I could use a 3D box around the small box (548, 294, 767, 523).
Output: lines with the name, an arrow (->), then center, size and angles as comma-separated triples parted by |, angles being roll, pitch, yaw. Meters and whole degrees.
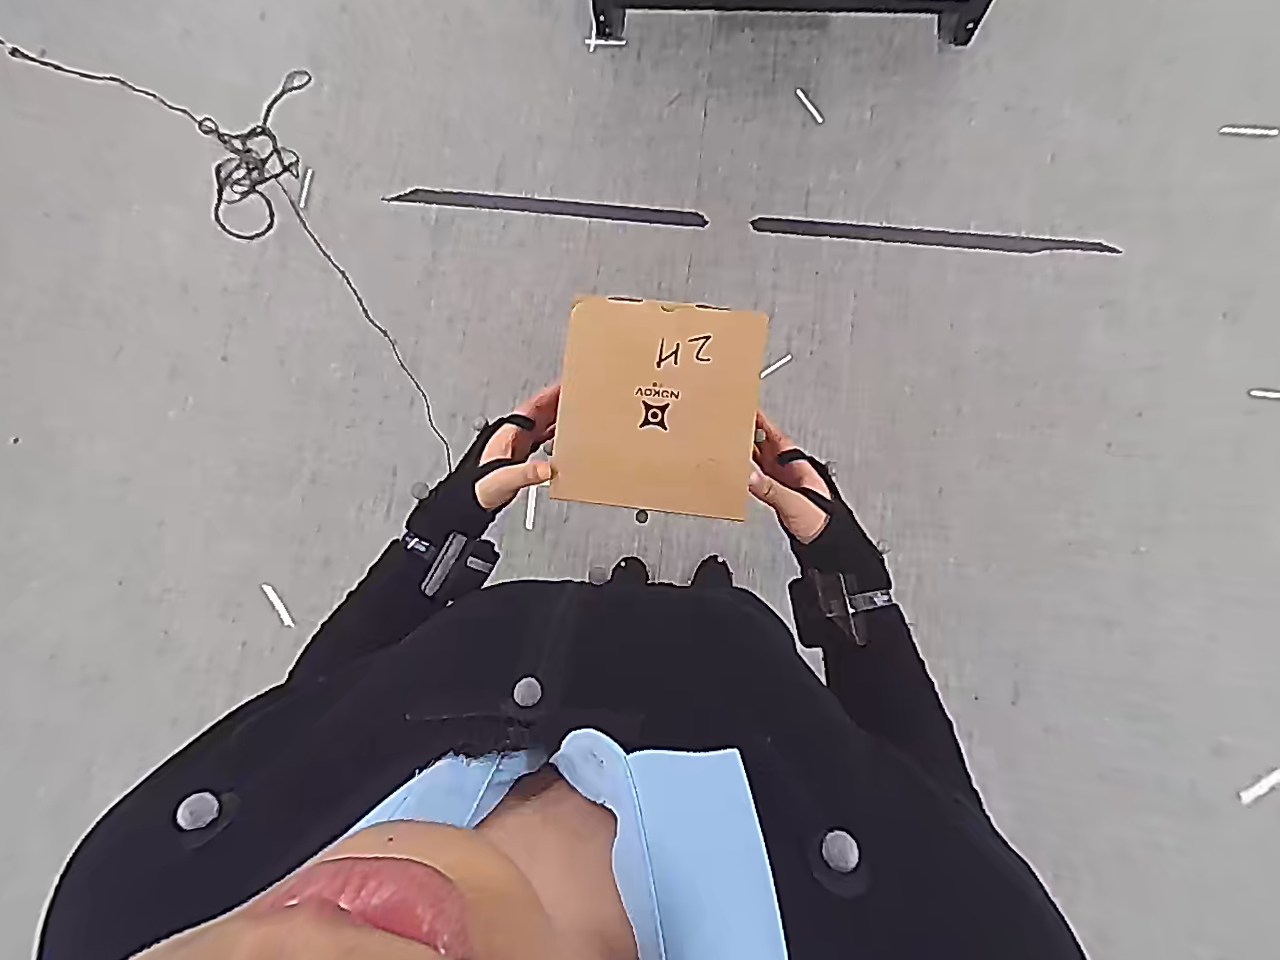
small box -> 0.018, -0.058, 0.524 | 0.168, 0.176, 0.179 | 7, 88, 3
